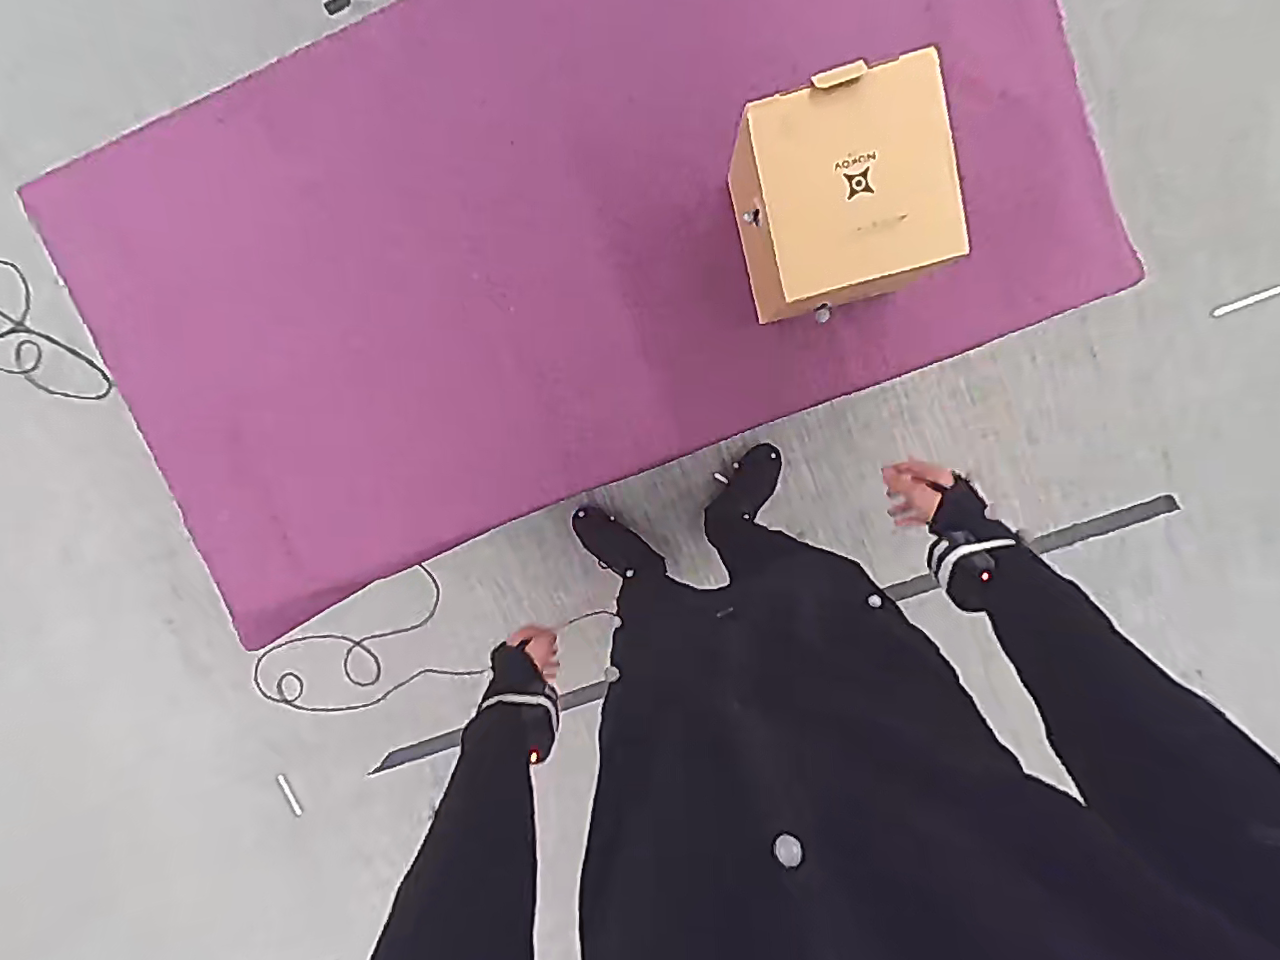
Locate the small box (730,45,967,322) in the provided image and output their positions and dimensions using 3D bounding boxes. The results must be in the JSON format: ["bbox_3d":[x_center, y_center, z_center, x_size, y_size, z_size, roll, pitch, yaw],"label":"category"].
[{"bbox_3d":[0.192,-0.274,0.546,0.168,0.176,0.179,-13,98,6],"label":"small box"}]
